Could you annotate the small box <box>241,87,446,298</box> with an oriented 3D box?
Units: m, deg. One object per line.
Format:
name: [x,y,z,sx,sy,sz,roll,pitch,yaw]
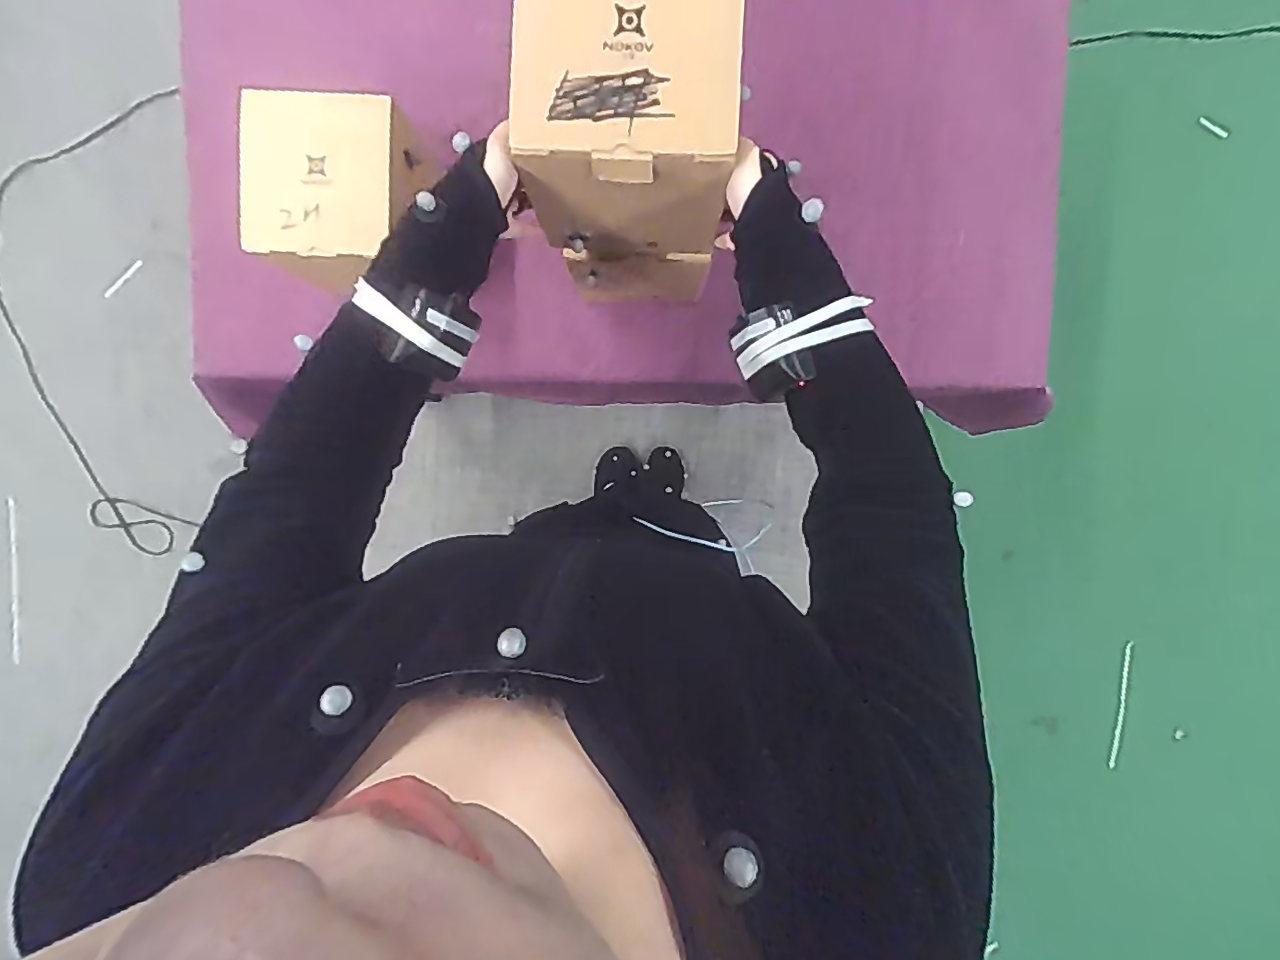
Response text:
small box: [-0.352,-0.341,0.670,0.168,0.176,0.179,2,94,0]

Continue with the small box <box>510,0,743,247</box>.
small box: [-0.006,-0.319,0.465,0.168,0.176,0.179,2,89,1]
